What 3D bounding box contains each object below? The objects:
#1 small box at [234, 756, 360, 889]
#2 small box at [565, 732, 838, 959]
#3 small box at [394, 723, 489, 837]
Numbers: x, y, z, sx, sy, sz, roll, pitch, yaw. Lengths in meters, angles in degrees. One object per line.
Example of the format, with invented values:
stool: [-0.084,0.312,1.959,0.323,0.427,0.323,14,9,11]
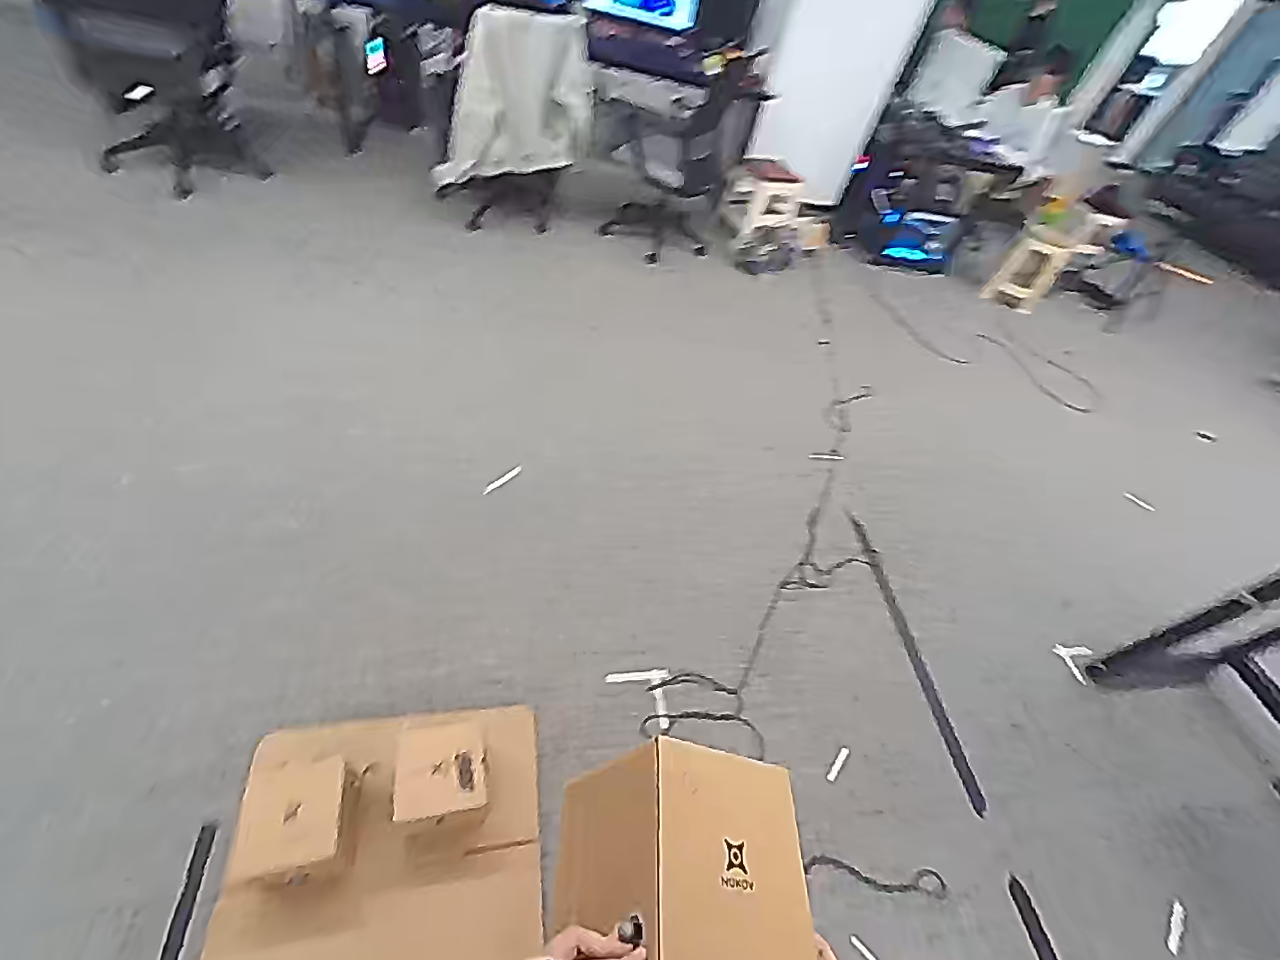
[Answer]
small box: [-0.660,0.675,1.064,0.168,0.176,0.179,-5,52,-18]
small box: [0.047,0.360,0.490,0.168,0.176,0.179,27,40,-24]
small box: [-0.420,0.642,1.158,0.179,0.176,0.168,-3,50,-18]
